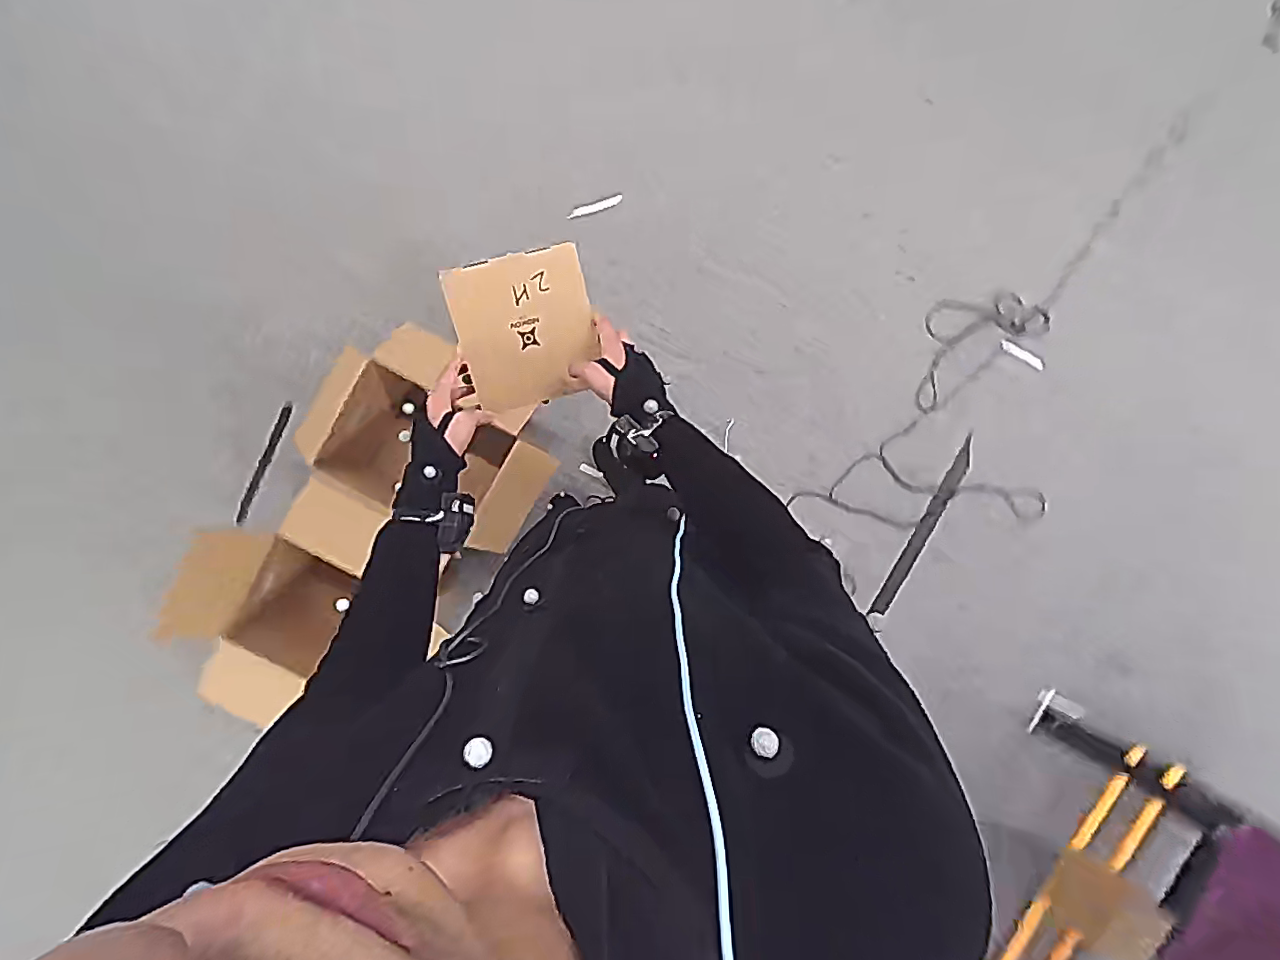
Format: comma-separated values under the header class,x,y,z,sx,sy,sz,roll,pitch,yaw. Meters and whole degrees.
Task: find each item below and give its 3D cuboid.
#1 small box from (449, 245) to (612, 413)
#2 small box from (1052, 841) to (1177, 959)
class,x,y,z,sx,sy,sz,roll,pitch,yaw
small box,-0.139,-0.204,0.732,0.168,0.176,0.179,-14,108,-5
small box,1.304,1.165,1.504,0.168,0.176,0.179,25,94,-2
